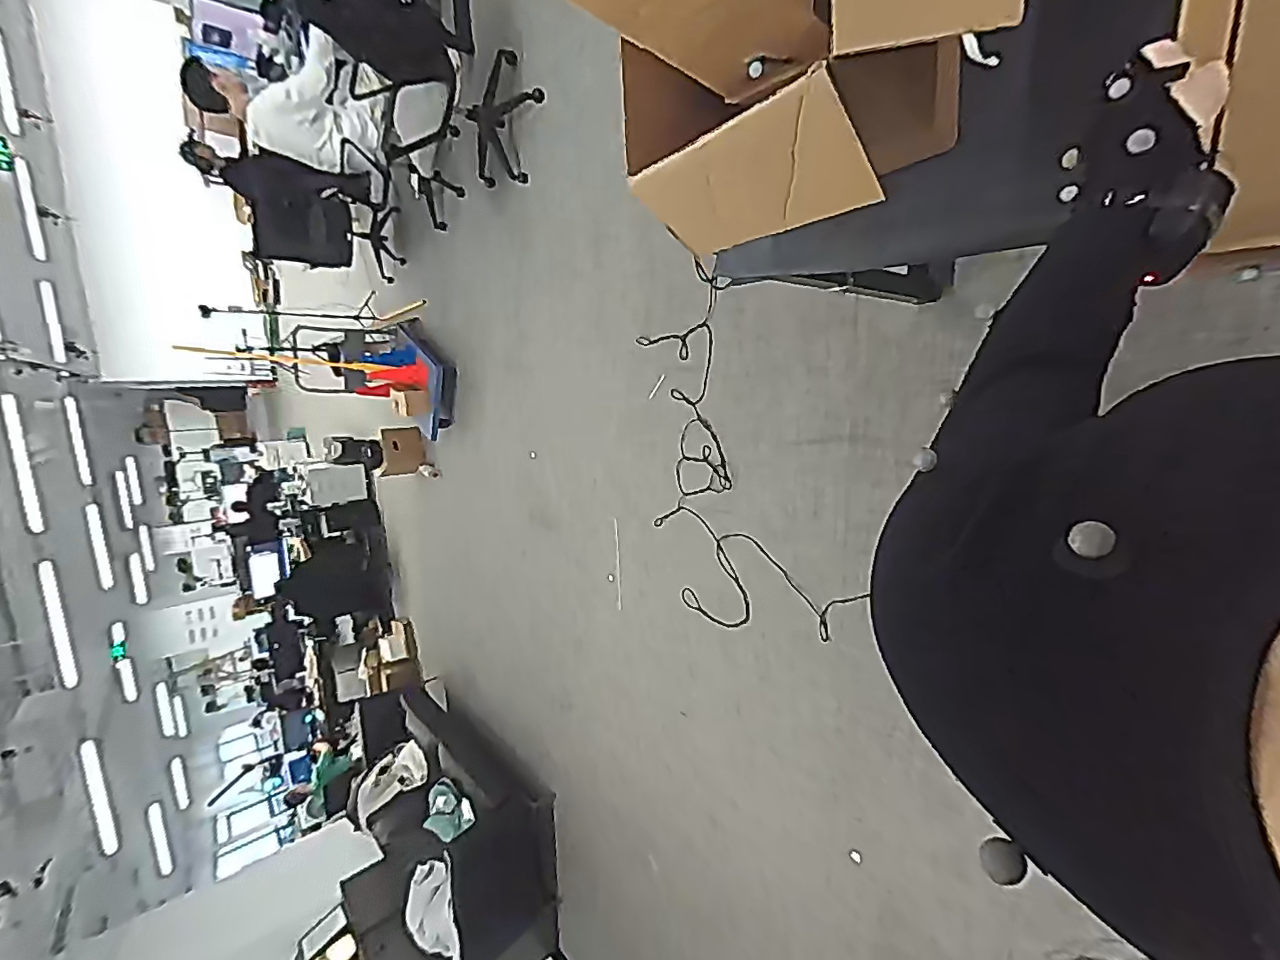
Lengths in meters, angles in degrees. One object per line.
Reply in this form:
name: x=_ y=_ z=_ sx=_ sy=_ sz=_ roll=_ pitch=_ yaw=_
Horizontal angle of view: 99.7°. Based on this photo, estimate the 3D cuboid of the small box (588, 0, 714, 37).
small box: x=0.008 y=-0.561 z=0.495 sx=0.179 sy=0.176 sz=0.168 roll=9 pitch=103 yaw=44
